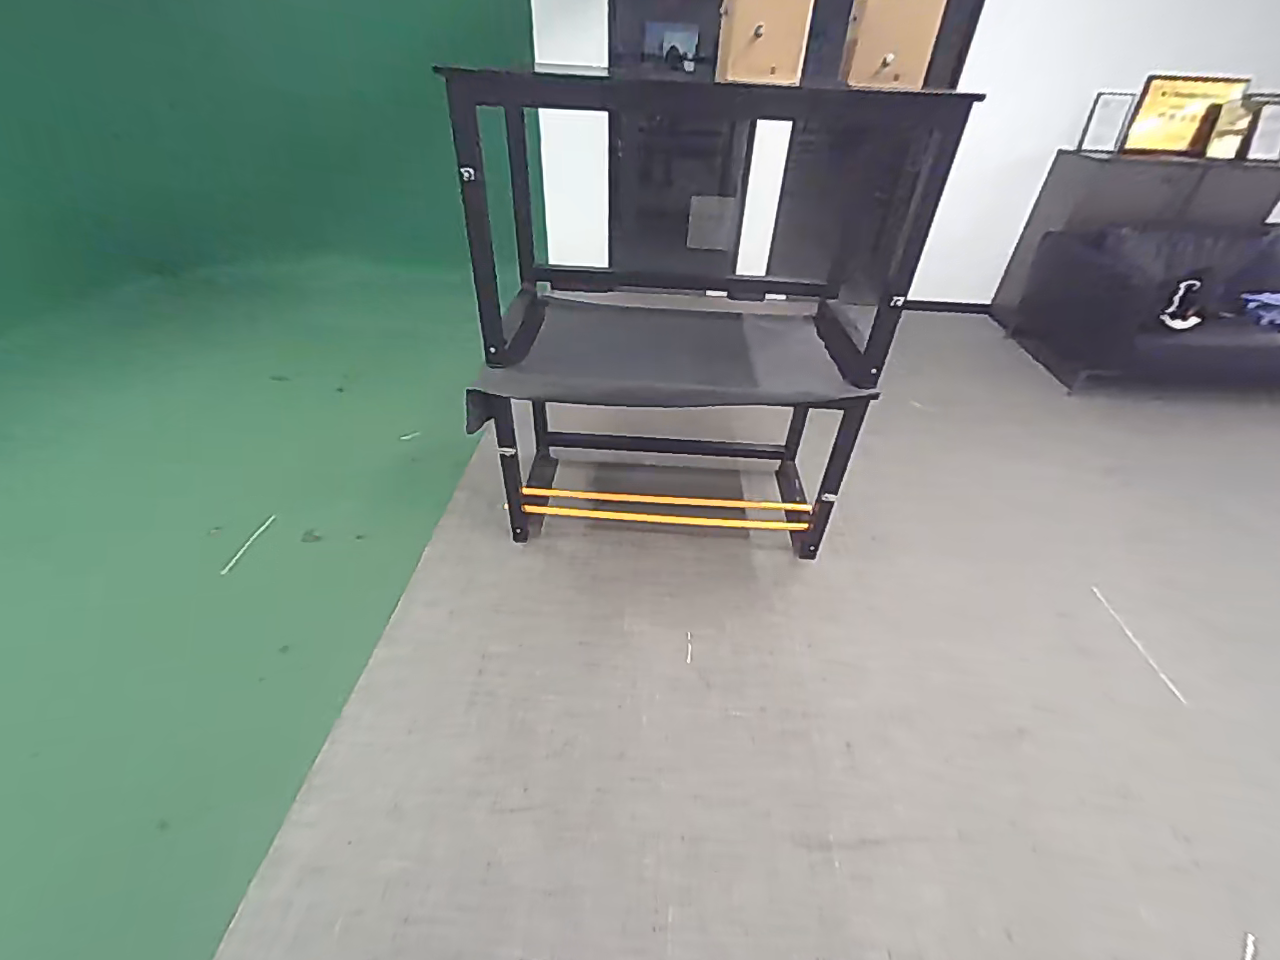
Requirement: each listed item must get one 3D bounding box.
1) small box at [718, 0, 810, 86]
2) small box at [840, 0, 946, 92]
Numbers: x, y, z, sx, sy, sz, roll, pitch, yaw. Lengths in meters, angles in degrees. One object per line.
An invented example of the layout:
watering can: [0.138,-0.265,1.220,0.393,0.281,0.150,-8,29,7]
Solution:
small box: [0.283,-1.025,1.257,0.168,0.176,0.179,0,38,-3]
small box: [0.576,-1.015,1.257,0.168,0.176,0.179,6,39,5]
